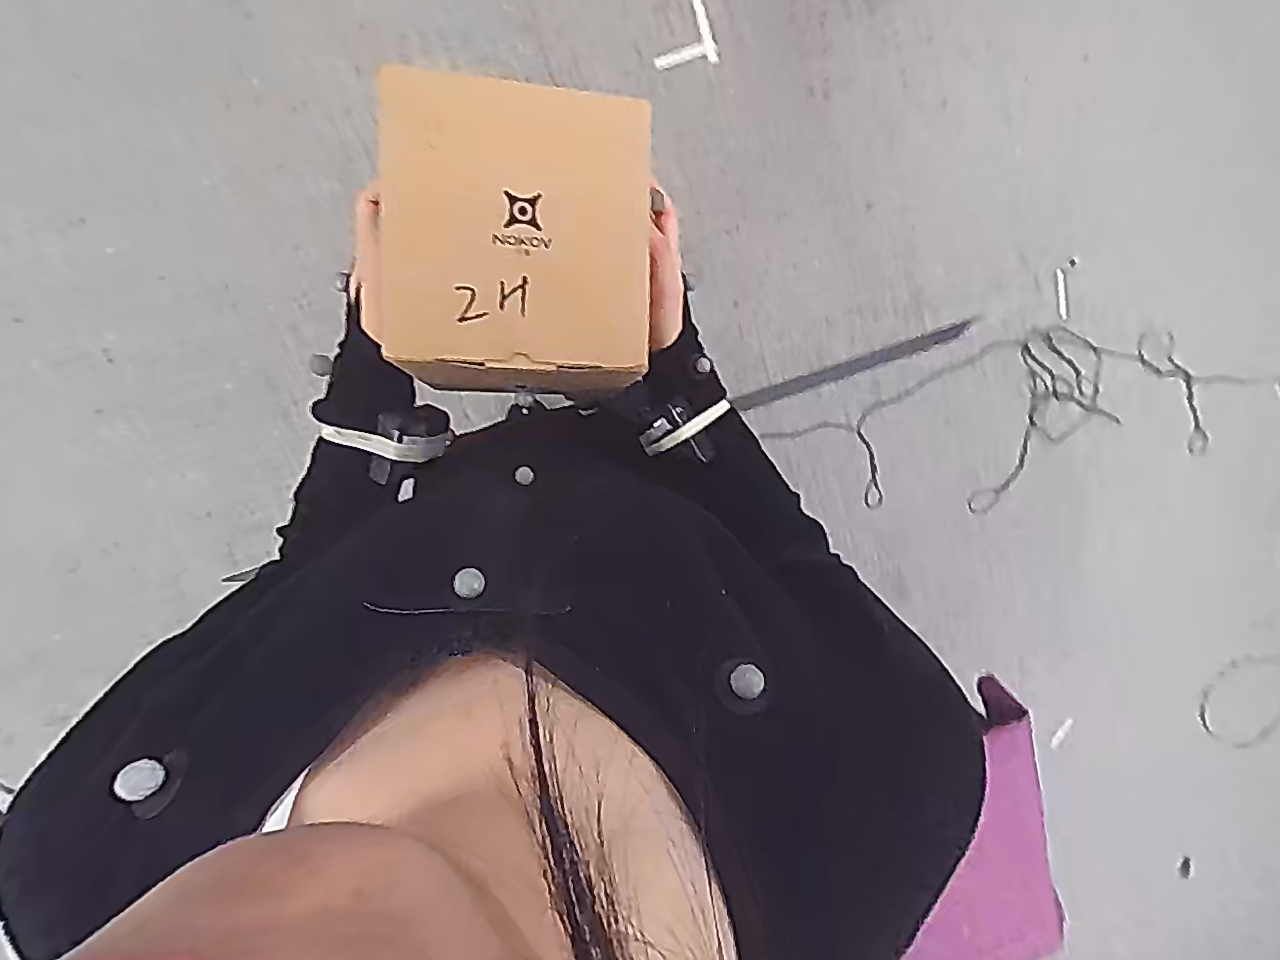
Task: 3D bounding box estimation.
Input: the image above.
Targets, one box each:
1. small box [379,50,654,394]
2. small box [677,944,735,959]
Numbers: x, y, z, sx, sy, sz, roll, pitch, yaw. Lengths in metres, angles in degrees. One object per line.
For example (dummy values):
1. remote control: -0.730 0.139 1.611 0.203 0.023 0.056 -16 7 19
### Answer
1. small box: -0.088 -0.167 0.412 0.168 0.176 0.179 0 92 -10
2. small box: 0.115 0.960 0.930 0.179 0.176 0.168 -18 105 -5
